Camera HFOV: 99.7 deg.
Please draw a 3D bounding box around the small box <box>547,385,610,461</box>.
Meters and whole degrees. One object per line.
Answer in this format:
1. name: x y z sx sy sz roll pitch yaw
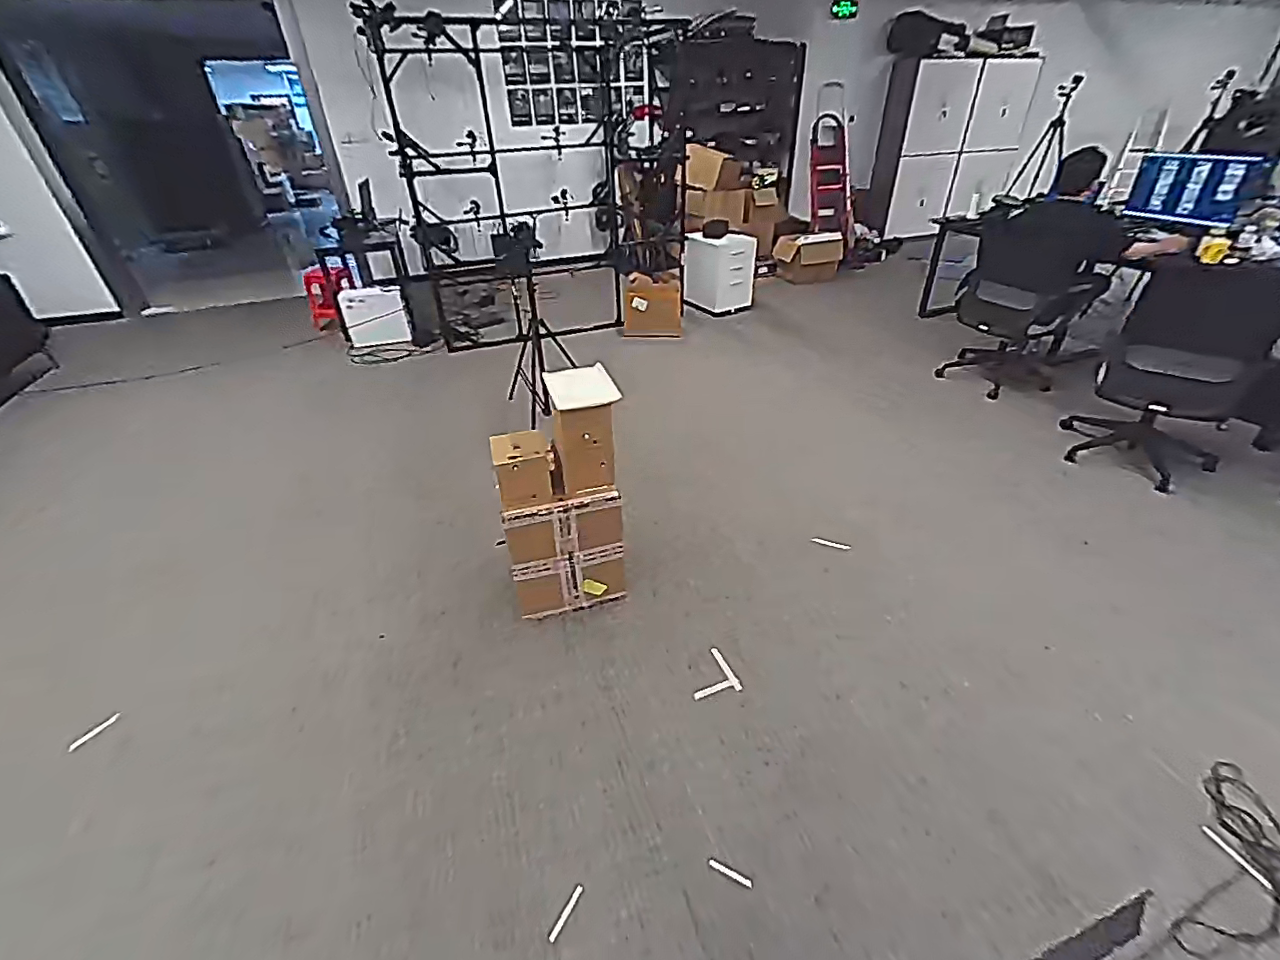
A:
1. small box: -0.196 -0.182 1.718 0.168 0.176 0.179 -11 37 -15
